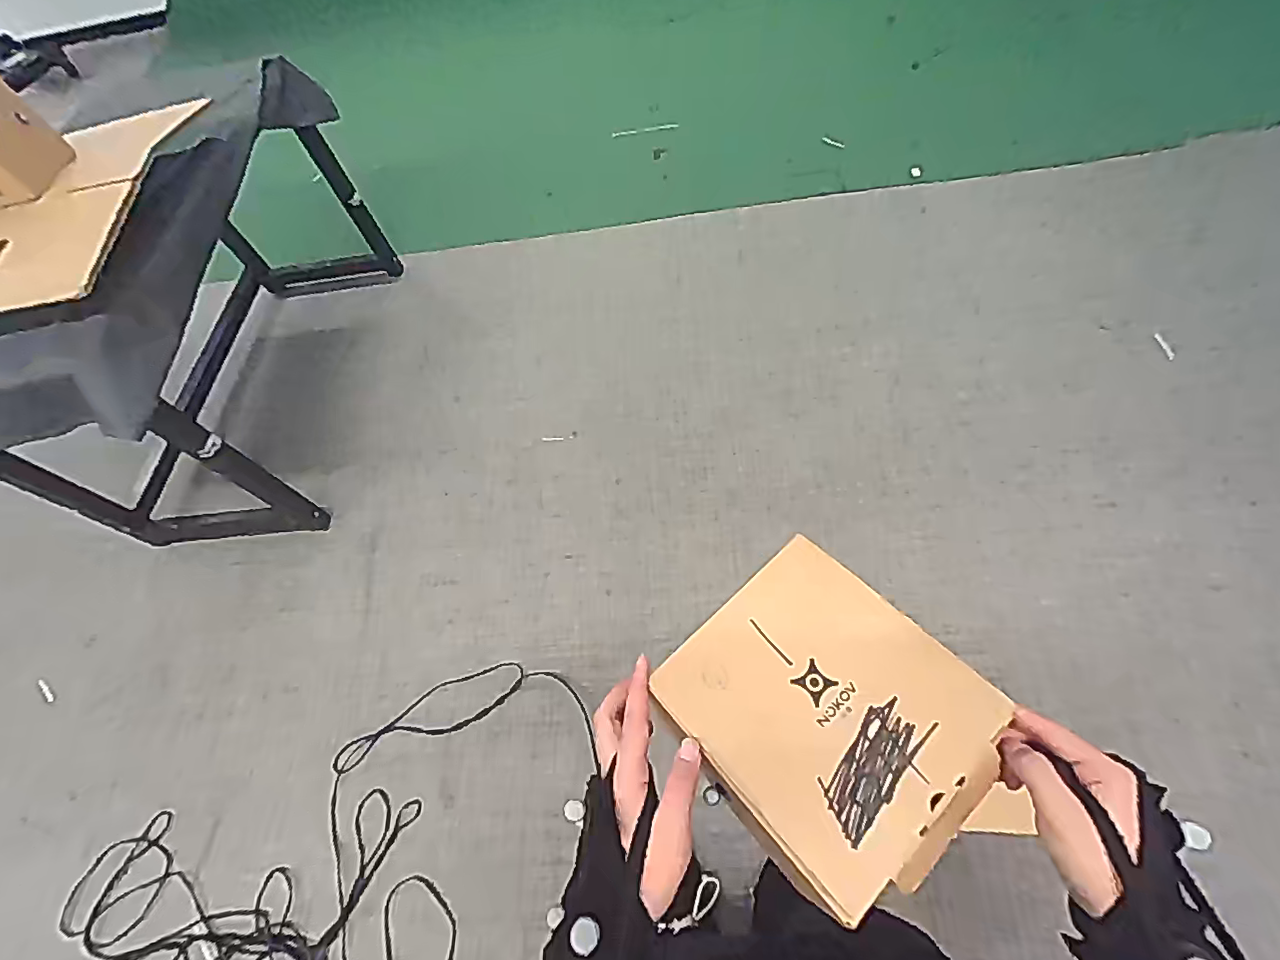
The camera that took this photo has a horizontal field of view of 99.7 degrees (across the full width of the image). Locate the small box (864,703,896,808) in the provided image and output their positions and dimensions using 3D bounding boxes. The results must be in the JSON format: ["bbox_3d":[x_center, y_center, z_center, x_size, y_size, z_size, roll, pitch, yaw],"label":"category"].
[{"bbox_3d":[0.554,0.546,1.062,0.168,0.176,0.179,-2,60,8],"label":"small box"}]

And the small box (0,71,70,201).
[{"bbox_3d":[-1.303,-0.678,1.066,0.168,0.176,0.179,-9,60,7],"label":"small box"}]

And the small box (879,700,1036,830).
[{"bbox_3d":[0.520,0.479,0.916,0.168,0.176,0.179,-2,60,8],"label":"small box"}]
